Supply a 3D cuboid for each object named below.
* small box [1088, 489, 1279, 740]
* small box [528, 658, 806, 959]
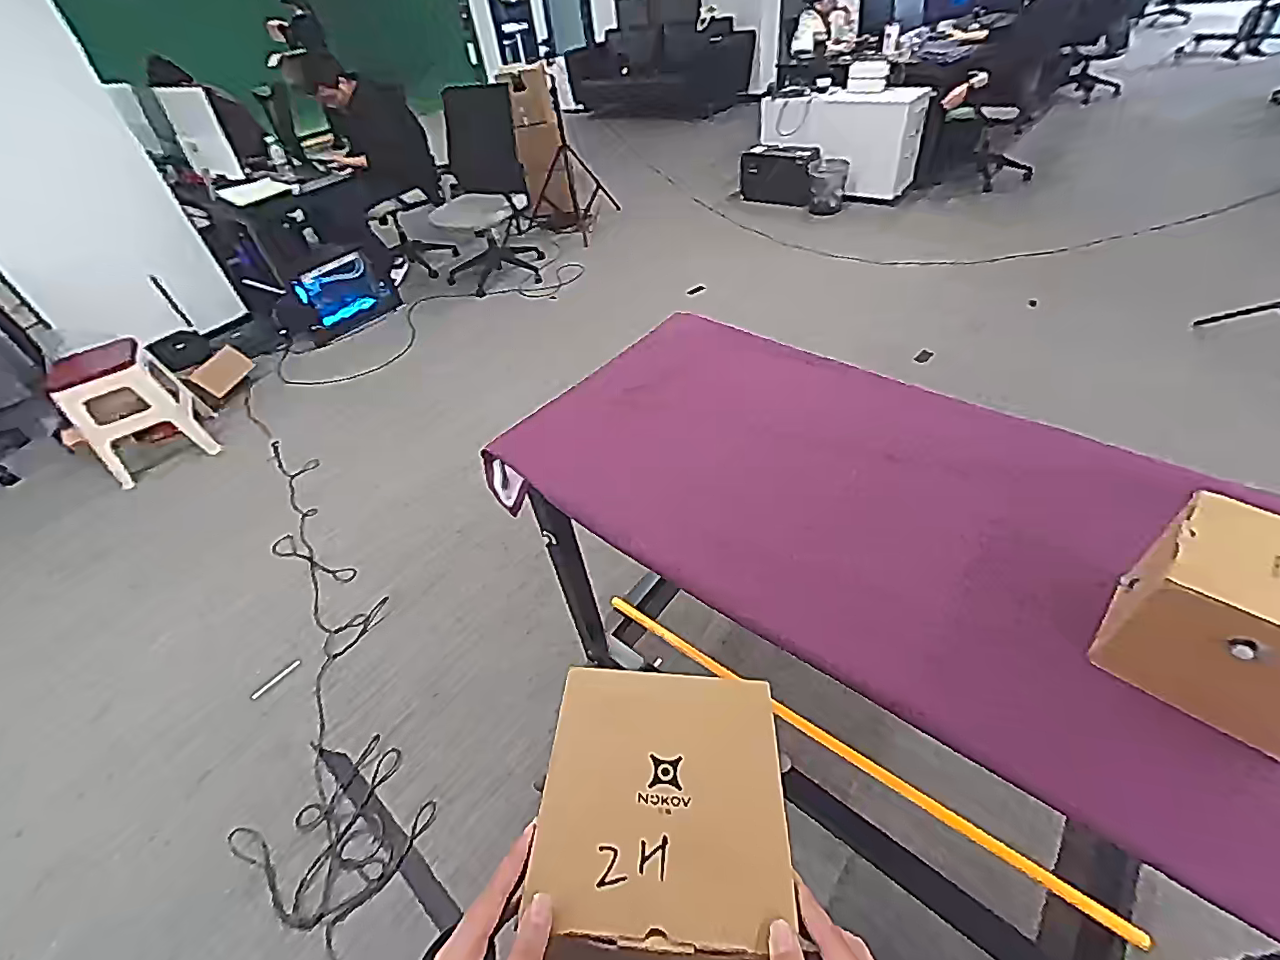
[{"bbox_3d":[0.642,0.147,0.583,0.179,0.176,0.168,30,54,35],"label":"small box"},{"bbox_3d":[0.020,0.269,0.425,0.168,0.176,0.179,3,38,4],"label":"small box"}]
